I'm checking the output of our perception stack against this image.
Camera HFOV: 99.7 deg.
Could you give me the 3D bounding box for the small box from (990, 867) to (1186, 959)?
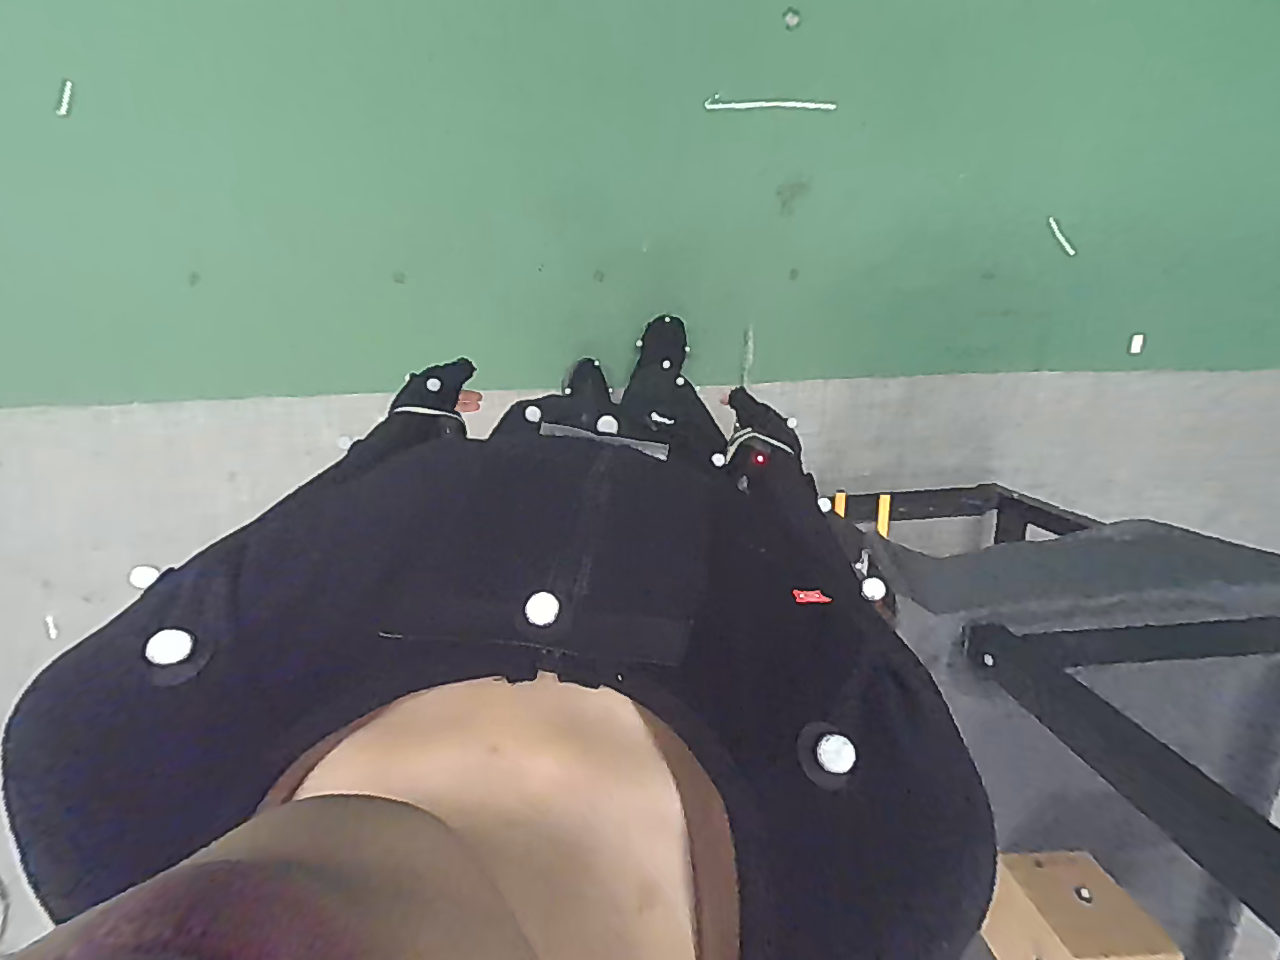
[{"bbox_3d":[0.691,0.749,0.853,0.168,0.176,0.179,0,103,-2],"label":"small box"}]
